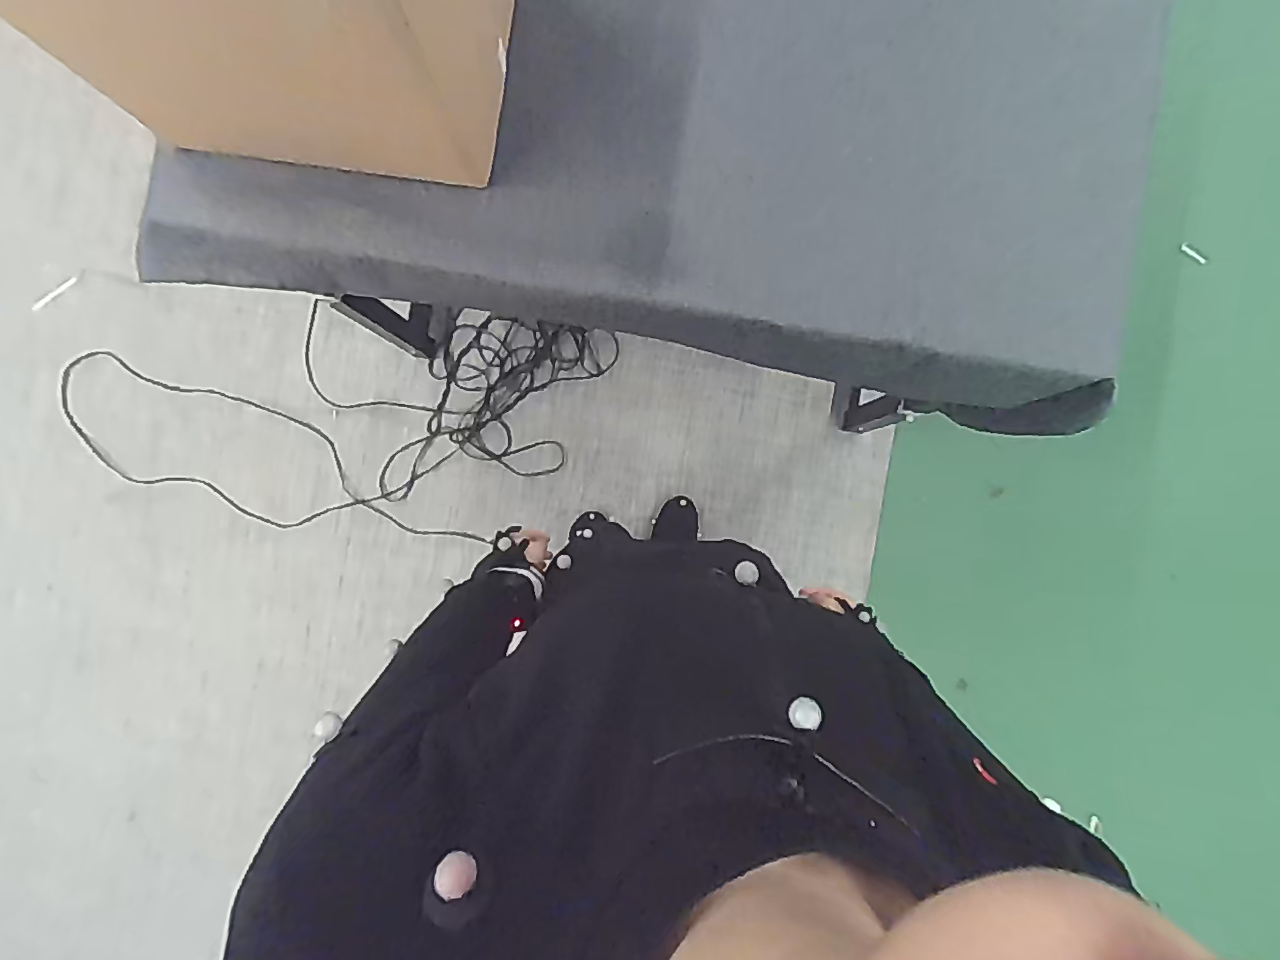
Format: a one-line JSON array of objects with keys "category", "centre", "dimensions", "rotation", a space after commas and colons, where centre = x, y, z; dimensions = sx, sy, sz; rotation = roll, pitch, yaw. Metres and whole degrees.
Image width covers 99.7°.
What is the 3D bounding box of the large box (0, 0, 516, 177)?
[{"category": "large box", "centre": [-0.359, -0.546, 0.523], "dimensions": [0.408, 0.320, 0.320], "rotation": [7, 89, -1]}]
